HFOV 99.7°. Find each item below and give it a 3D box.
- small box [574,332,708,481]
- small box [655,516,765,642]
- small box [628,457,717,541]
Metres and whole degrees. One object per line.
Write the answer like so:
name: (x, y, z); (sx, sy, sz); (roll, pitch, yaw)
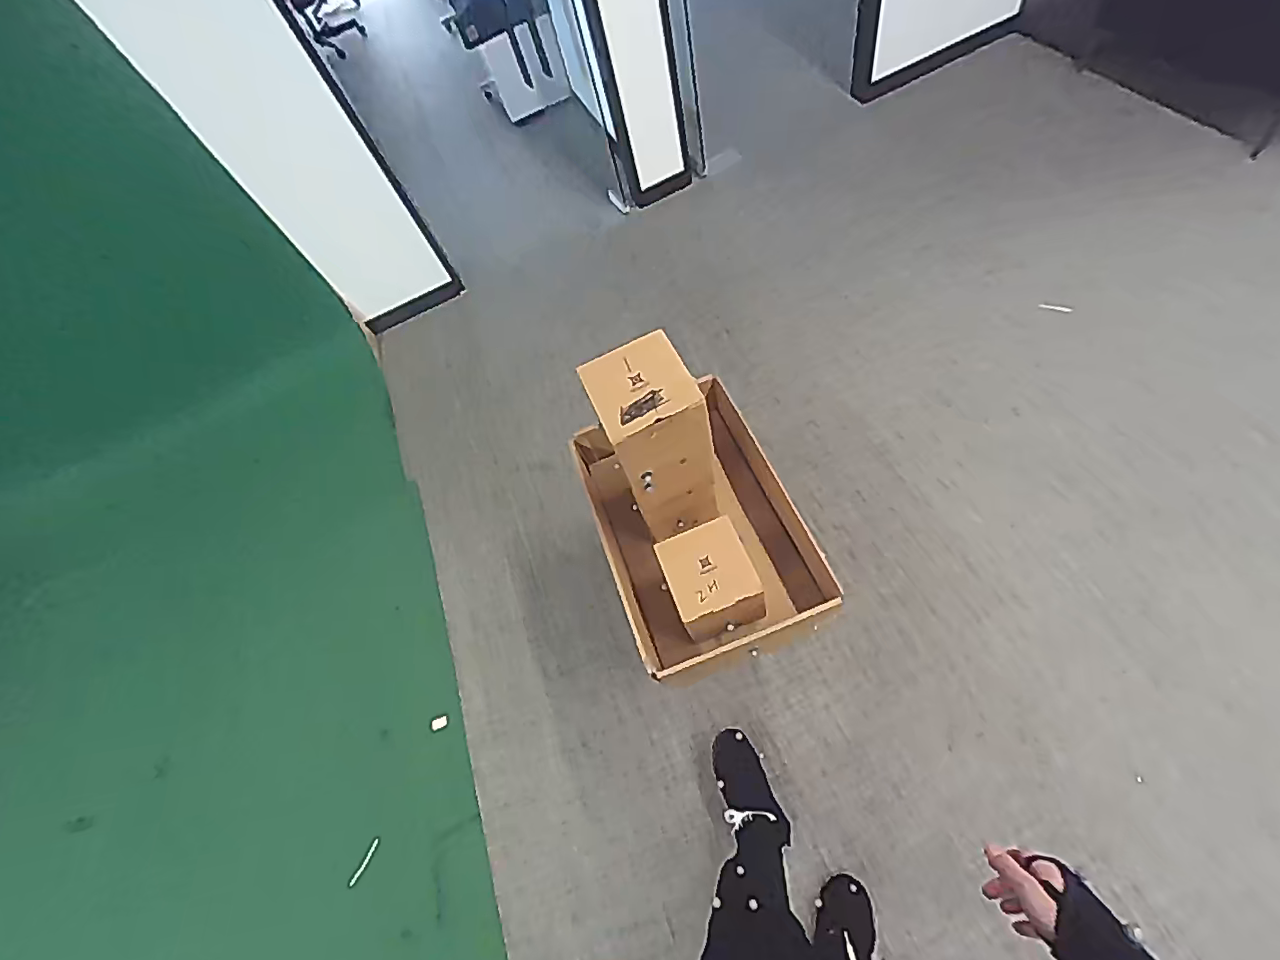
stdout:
small box: (0.008, -0.118, 0.953); (0.168, 0.176, 0.179); (-26, 60, -1)
small box: (0.145, 0.208, 1.110); (0.168, 0.176, 0.179); (-23, 57, 2)
small box: (0.067, 0.012, 1.250); (0.168, 0.176, 0.179); (-24, 61, 0)
